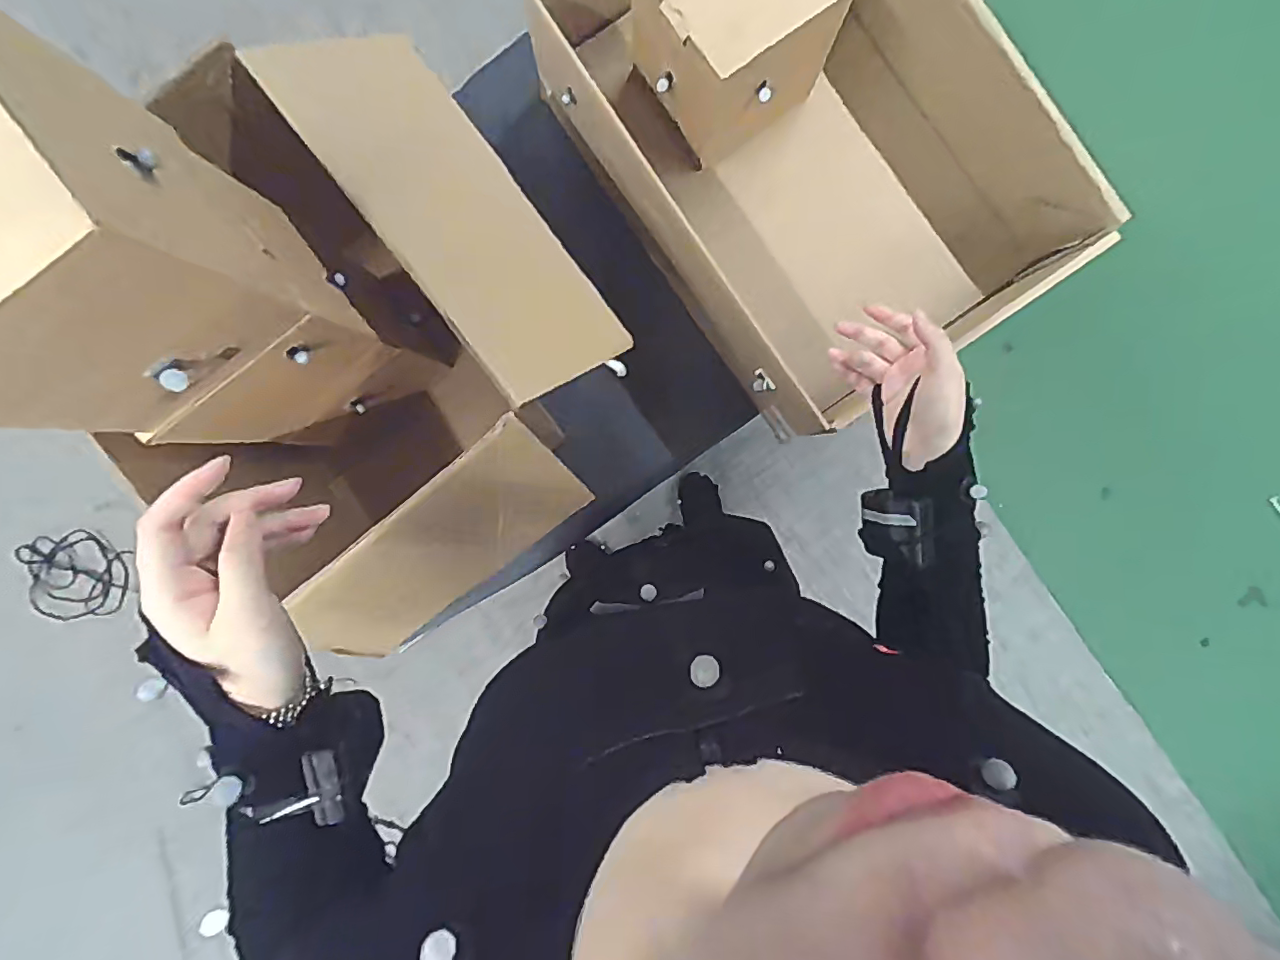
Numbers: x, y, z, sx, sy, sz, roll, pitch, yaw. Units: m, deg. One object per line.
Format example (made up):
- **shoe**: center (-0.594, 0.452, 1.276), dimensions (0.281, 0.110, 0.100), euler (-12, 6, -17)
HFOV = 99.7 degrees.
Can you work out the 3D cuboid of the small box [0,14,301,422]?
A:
- **small box**: center (-0.376, -0.150, 0.346), dimensions (0.168, 0.176, 0.179), euler (-36, 94, 3)
